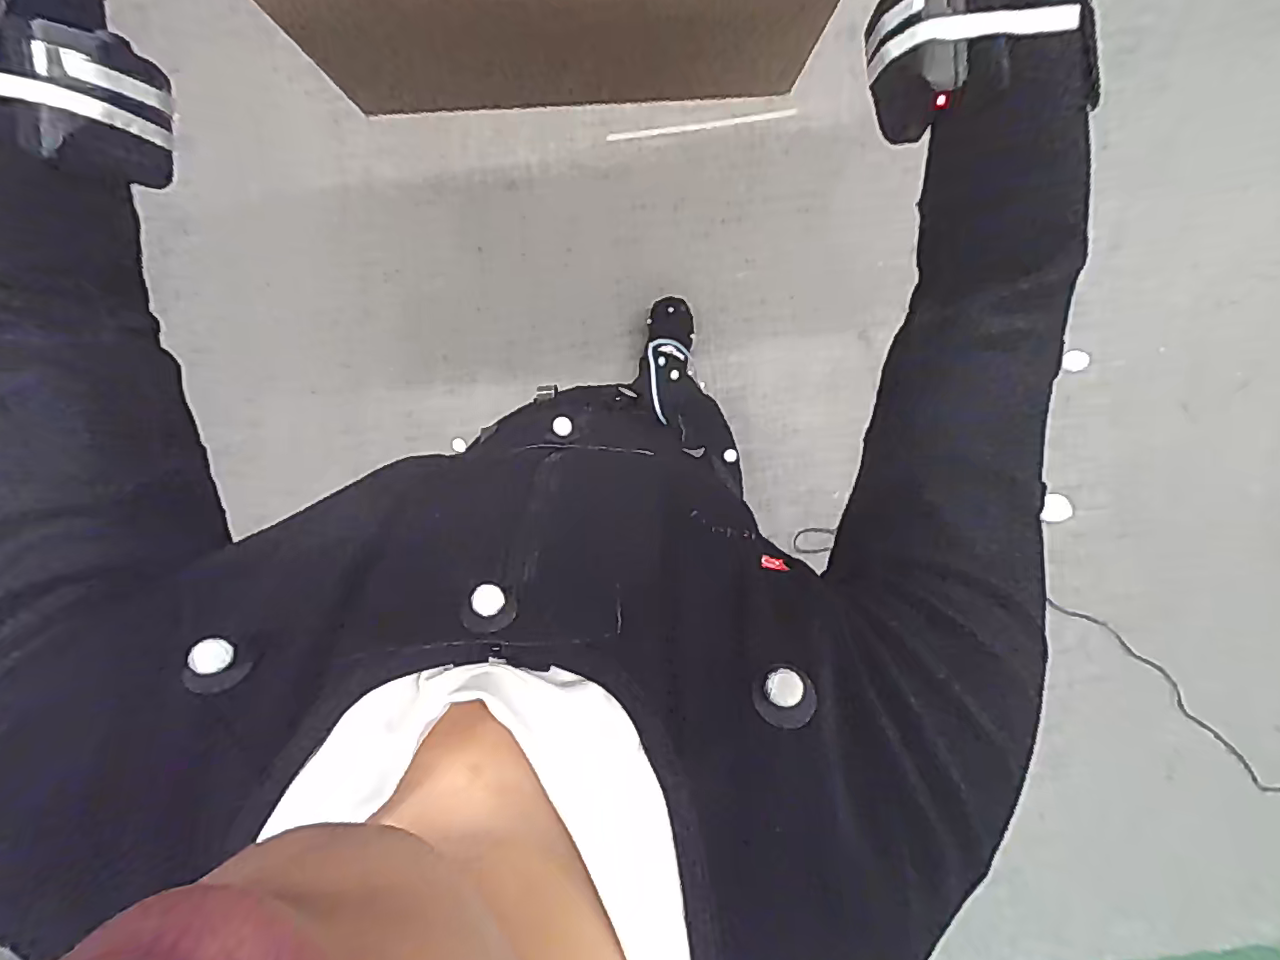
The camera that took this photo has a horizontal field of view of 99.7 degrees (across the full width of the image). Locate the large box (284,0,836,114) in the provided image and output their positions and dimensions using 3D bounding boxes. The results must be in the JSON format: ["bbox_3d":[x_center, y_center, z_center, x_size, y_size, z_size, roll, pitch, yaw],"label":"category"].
[{"bbox_3d":[-0.058,-0.485,0.345,0.408,0.320,0.320,-4,100,-2],"label":"large box"}]
